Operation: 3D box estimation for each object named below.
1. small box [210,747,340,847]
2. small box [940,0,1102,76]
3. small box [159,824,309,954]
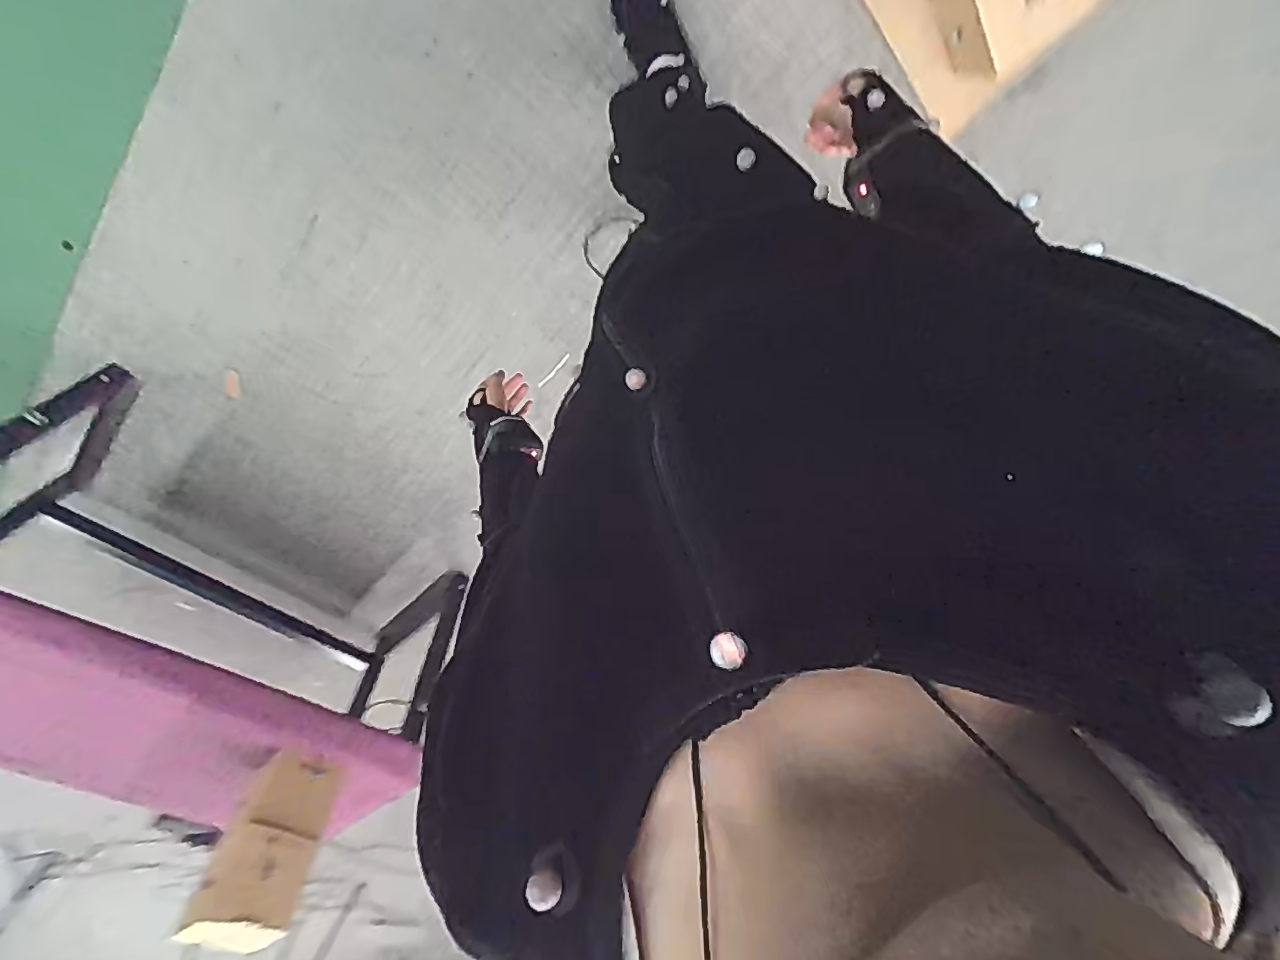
[{"bbox_3d":[-0.842,0.760,1.263,0.168,0.176,0.179,38,116,-26],"label":"small box"},{"bbox_3d":[0.685,-0.882,0.993,0.179,0.176,0.168,-33,122,19],"label":"small box"},{"bbox_3d":[-0.830,0.849,1.127,0.179,0.176,0.168,-38,119,23],"label":"small box"}]
